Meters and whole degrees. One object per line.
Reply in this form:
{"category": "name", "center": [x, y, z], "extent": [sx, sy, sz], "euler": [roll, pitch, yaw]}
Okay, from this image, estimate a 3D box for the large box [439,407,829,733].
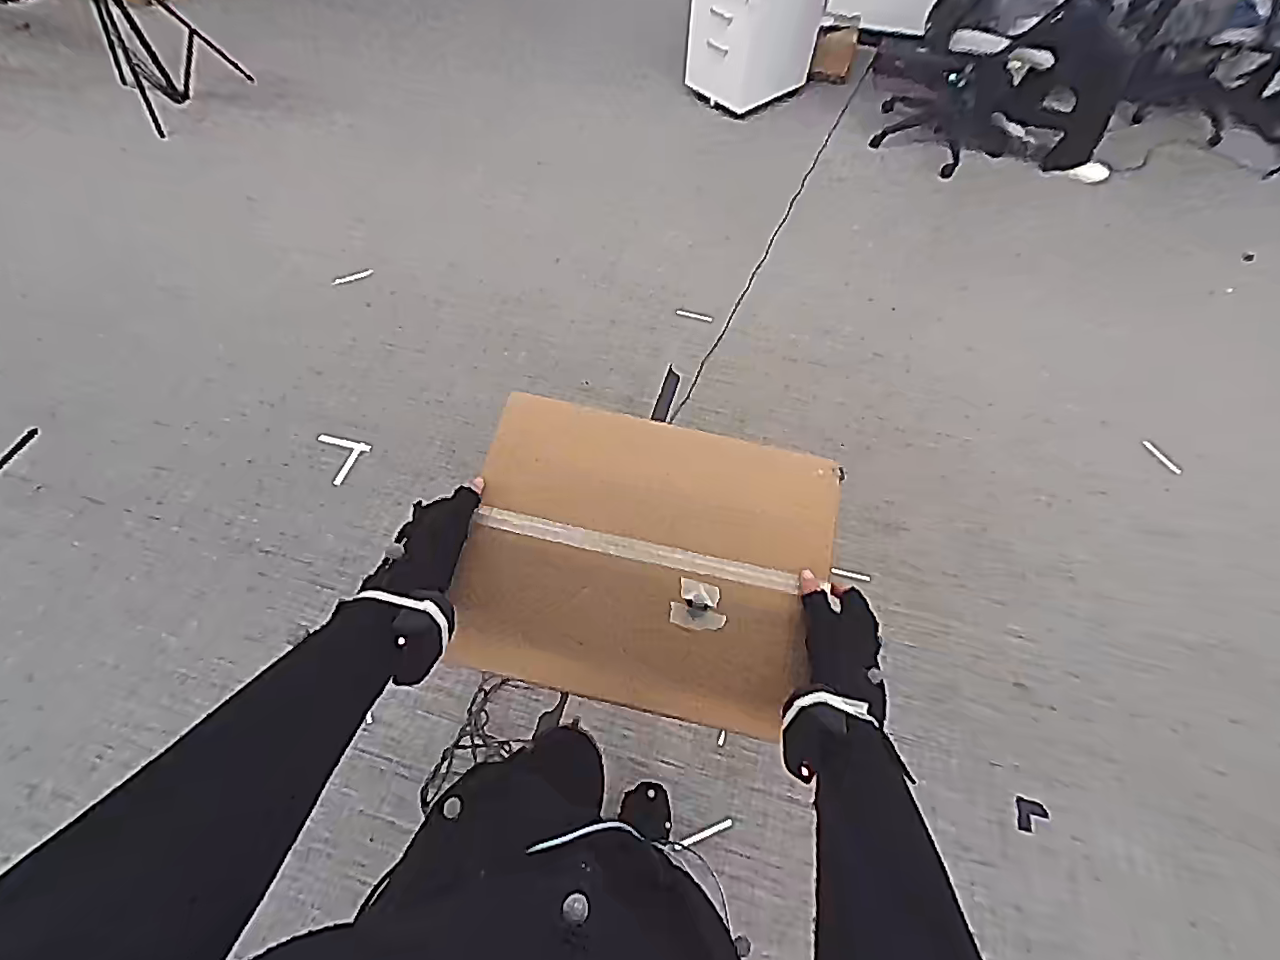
{"category": "large box", "center": [0.001, 0.135, 0.753], "extent": [0.408, 0.320, 0.320], "euler": [12, 71, 2]}
